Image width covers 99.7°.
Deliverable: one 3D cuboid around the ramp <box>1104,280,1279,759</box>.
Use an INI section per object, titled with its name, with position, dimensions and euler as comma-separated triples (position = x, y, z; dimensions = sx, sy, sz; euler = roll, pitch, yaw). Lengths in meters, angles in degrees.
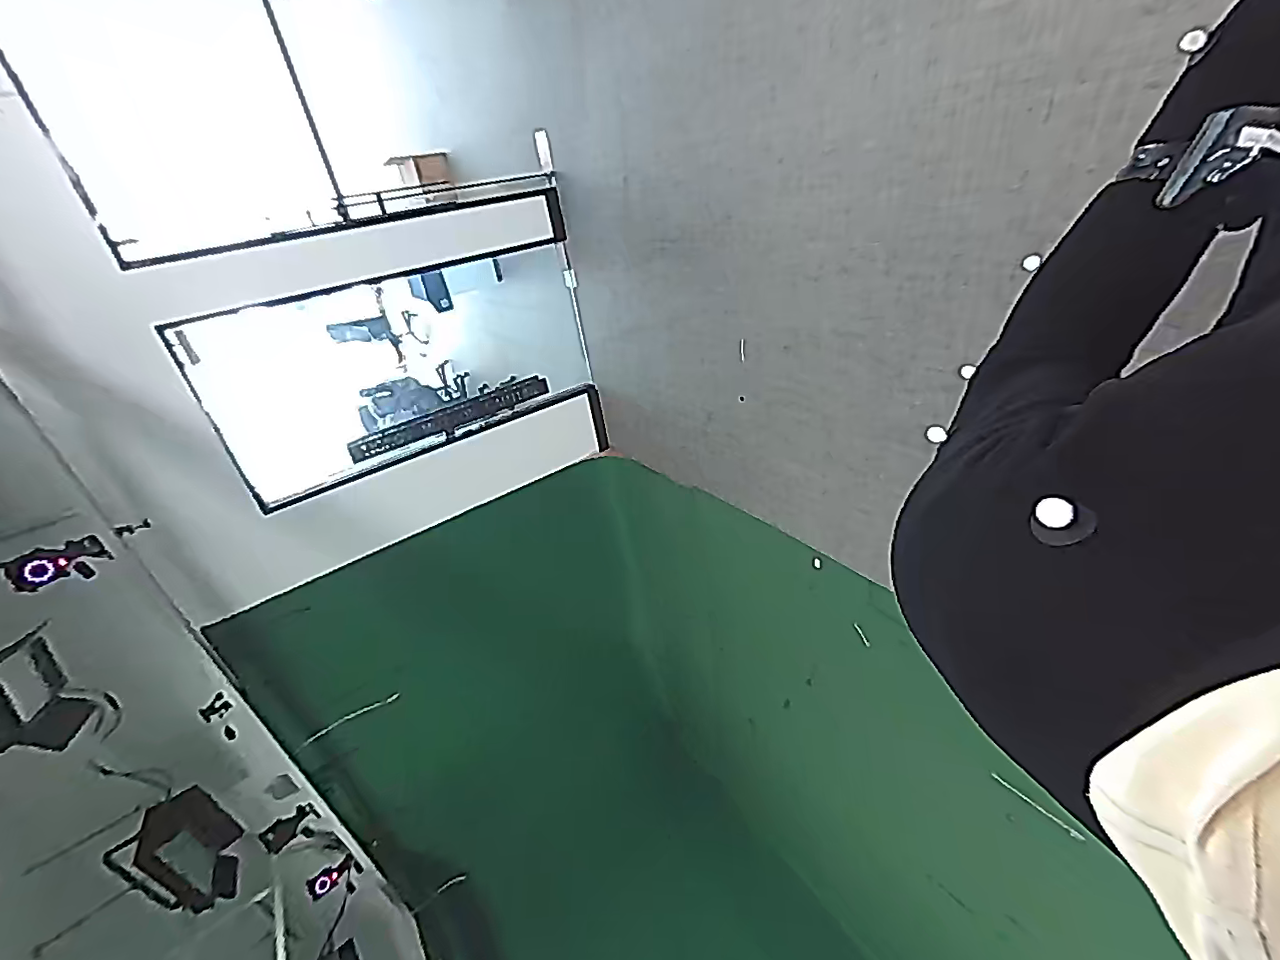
[ramp]
position = 1.380, 0.136, 1.076
dimensions = 0.509, 0.206, 0.991
euler = 29, 137, 51
